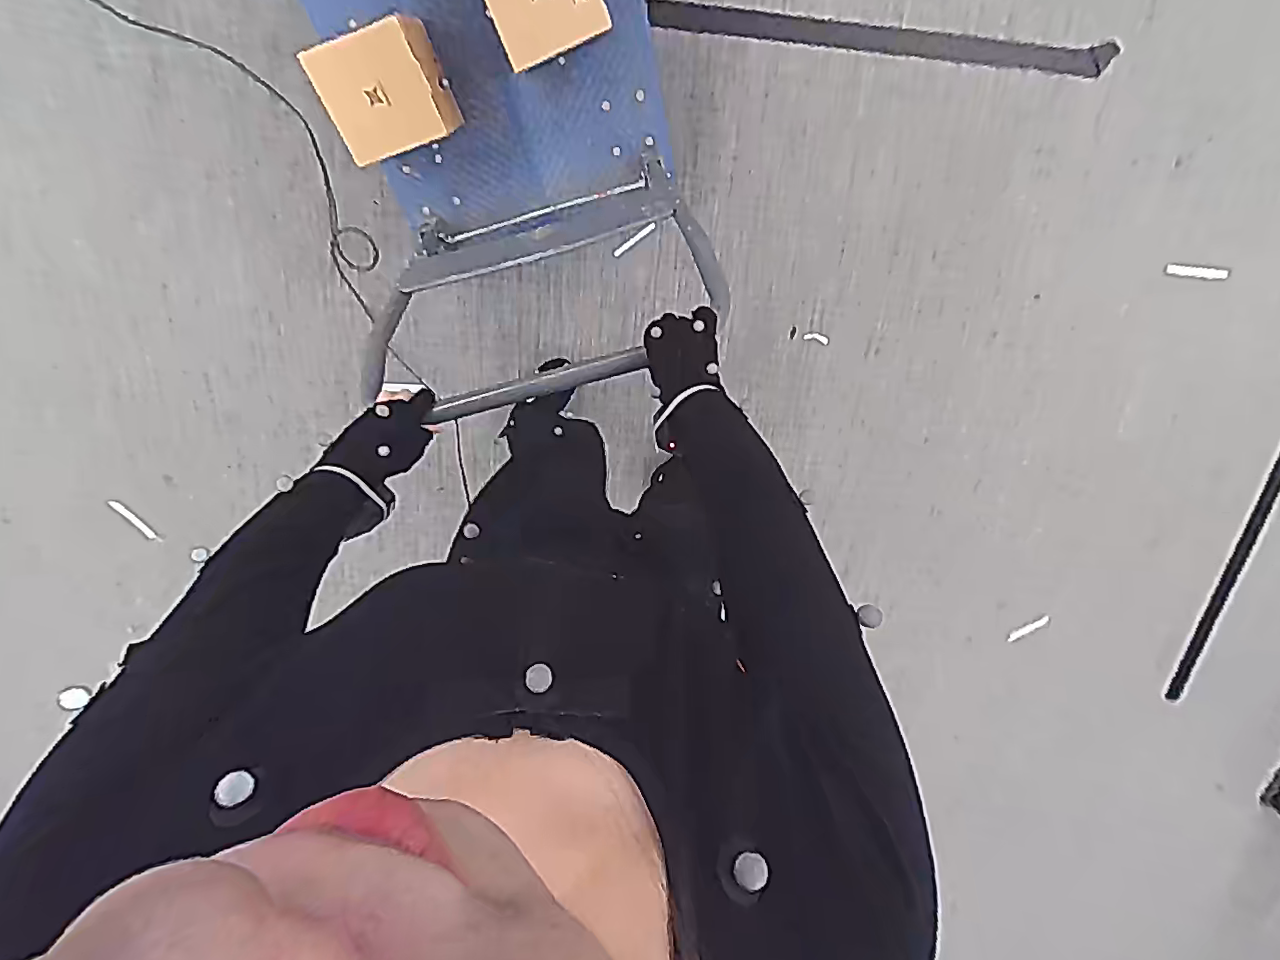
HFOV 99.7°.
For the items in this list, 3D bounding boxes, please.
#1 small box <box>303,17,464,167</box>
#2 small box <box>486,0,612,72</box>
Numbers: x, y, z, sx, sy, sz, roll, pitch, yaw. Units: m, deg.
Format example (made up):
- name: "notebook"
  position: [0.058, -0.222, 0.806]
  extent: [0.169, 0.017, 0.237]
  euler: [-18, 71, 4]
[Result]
- name: "small box"
  position: [-0.435, -0.677, 0.952]
  extent: [0.179, 0.176, 0.168]
  euler: [-18, 128, 6]
- name: "small box"
  position: [-0.155, -0.799, 0.886]
  extent: [0.179, 0.176, 0.168]
  euler: [-19, 128, 9]
